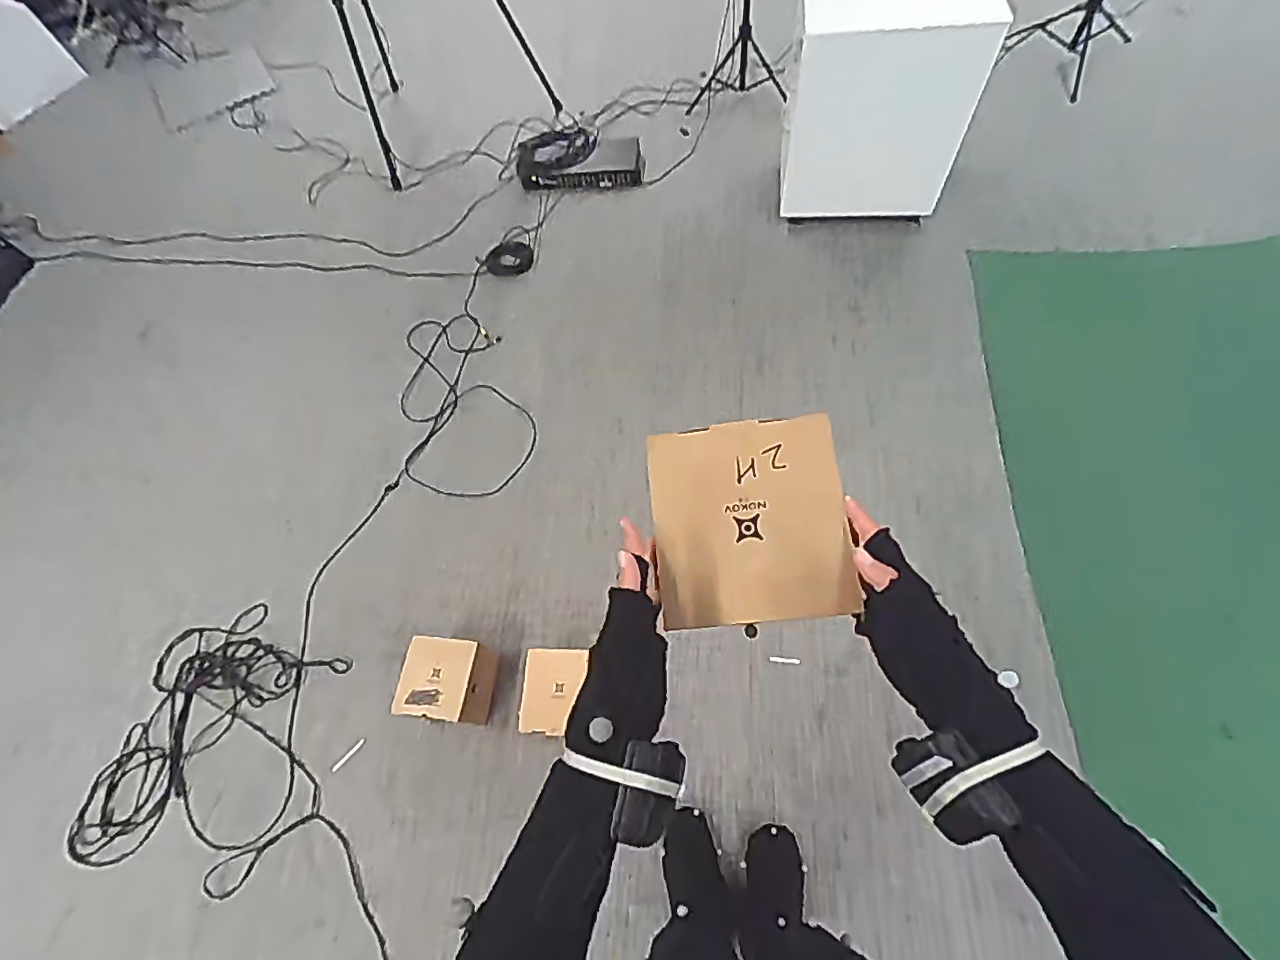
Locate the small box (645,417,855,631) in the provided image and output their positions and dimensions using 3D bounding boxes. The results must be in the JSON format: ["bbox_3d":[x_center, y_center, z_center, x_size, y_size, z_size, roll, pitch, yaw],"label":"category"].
[{"bbox_3d":[0.102,0.054,0.547,0.168,0.176,0.179,-7,75,6],"label":"small box"}]

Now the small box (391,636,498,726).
[{"bbox_3d":[-0.460,0.489,1.304,0.168,0.176,0.179,4,63,9],"label":"small box"}]

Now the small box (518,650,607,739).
[{"bbox_3d":[-0.172,0.505,1.265,0.168,0.176,0.179,-1,64,6],"label":"small box"}]
